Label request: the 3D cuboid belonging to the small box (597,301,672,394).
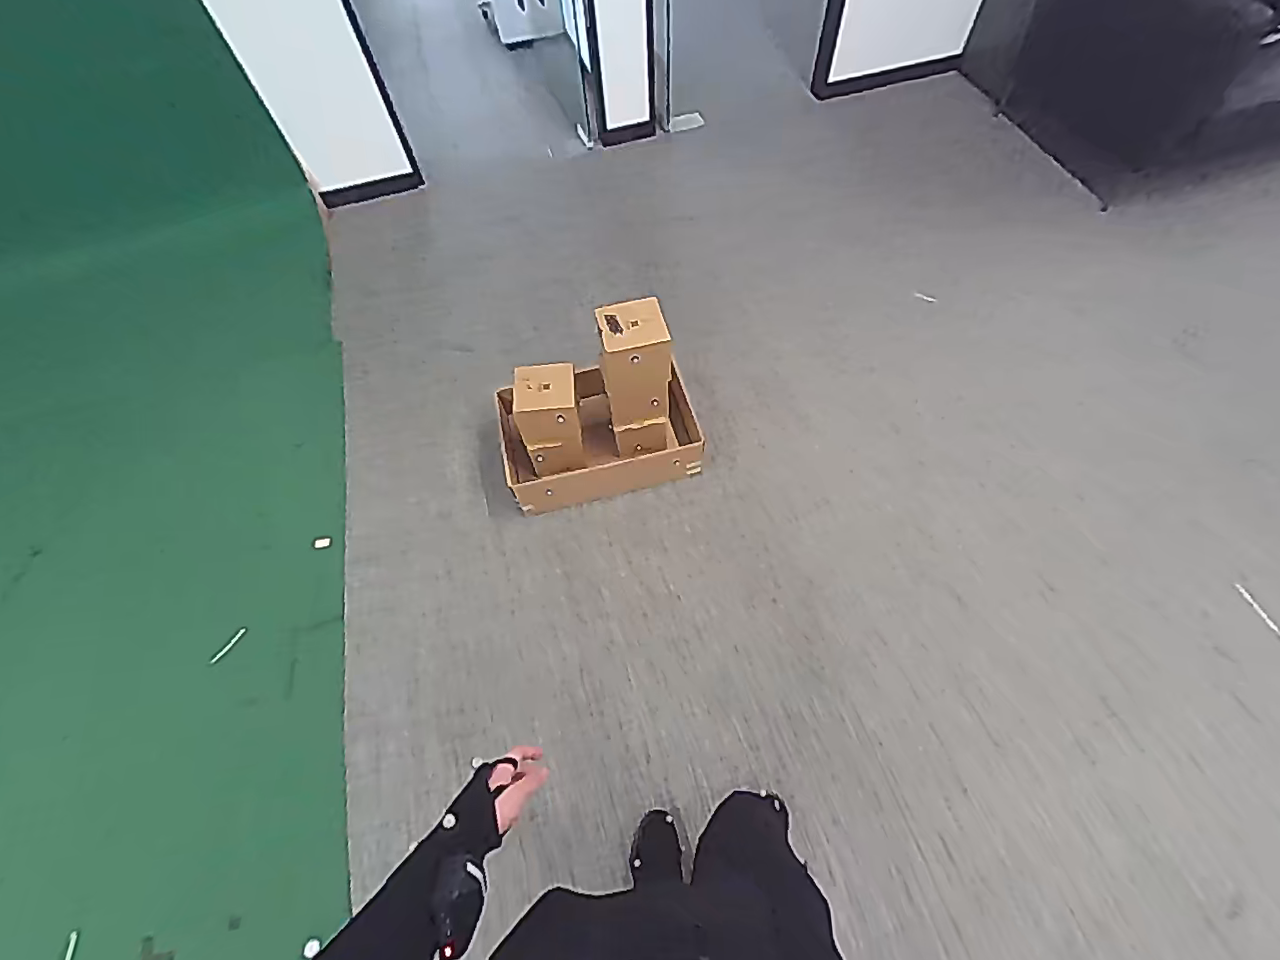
[{"bbox_3d":[-0.011,-0.361,1.498,0.179,0.176,0.168,-13,61,-4],"label":"small box"}]
